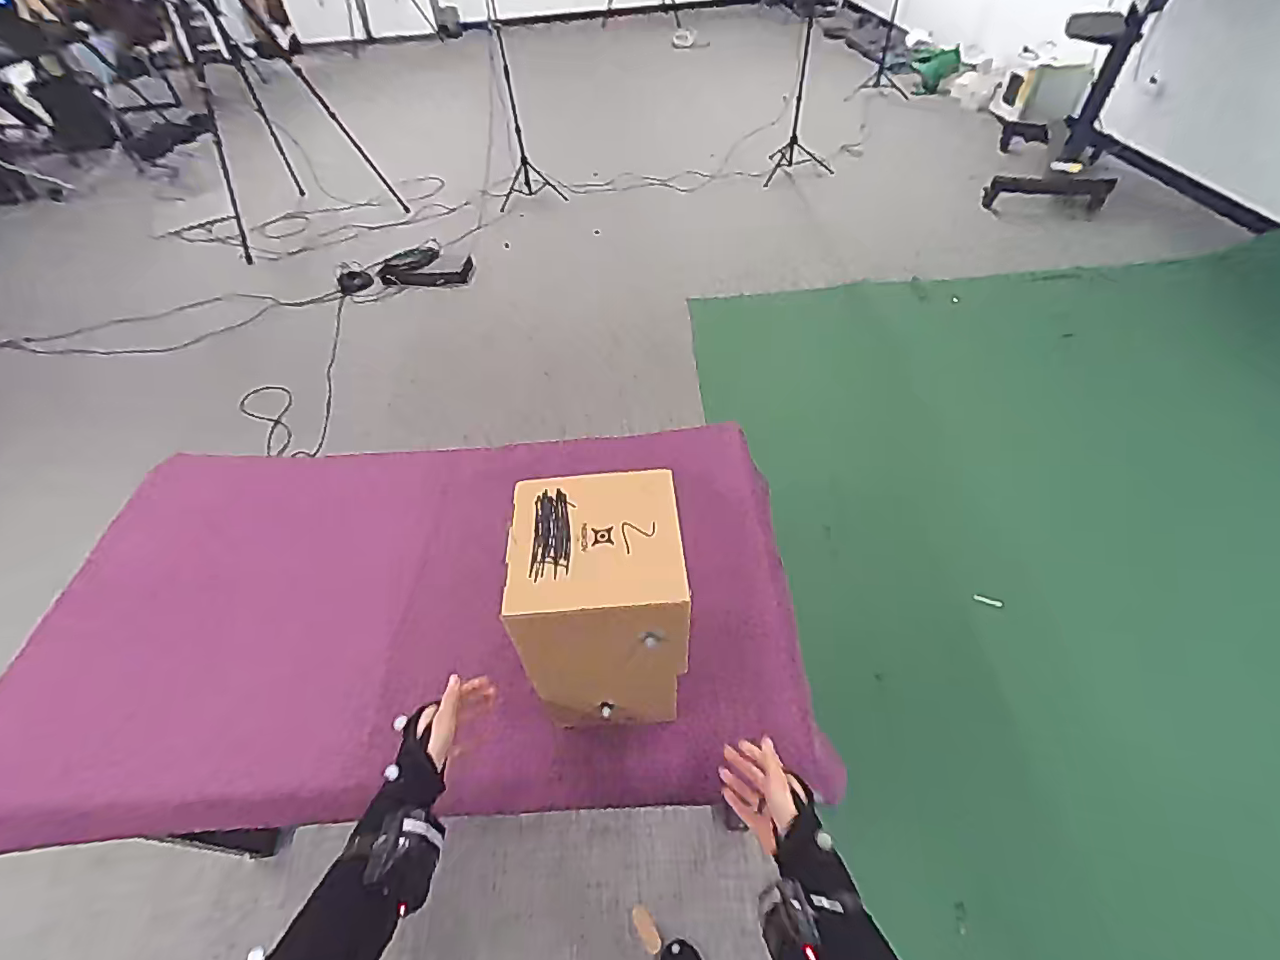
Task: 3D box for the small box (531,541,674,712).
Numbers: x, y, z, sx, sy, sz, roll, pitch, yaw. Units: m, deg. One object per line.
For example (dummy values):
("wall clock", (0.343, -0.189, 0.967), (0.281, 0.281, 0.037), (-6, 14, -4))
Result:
("small box", (-0.041, 0.204, 0.733), (0.168, 0.176, 0.179), (-3, 49, 1))
